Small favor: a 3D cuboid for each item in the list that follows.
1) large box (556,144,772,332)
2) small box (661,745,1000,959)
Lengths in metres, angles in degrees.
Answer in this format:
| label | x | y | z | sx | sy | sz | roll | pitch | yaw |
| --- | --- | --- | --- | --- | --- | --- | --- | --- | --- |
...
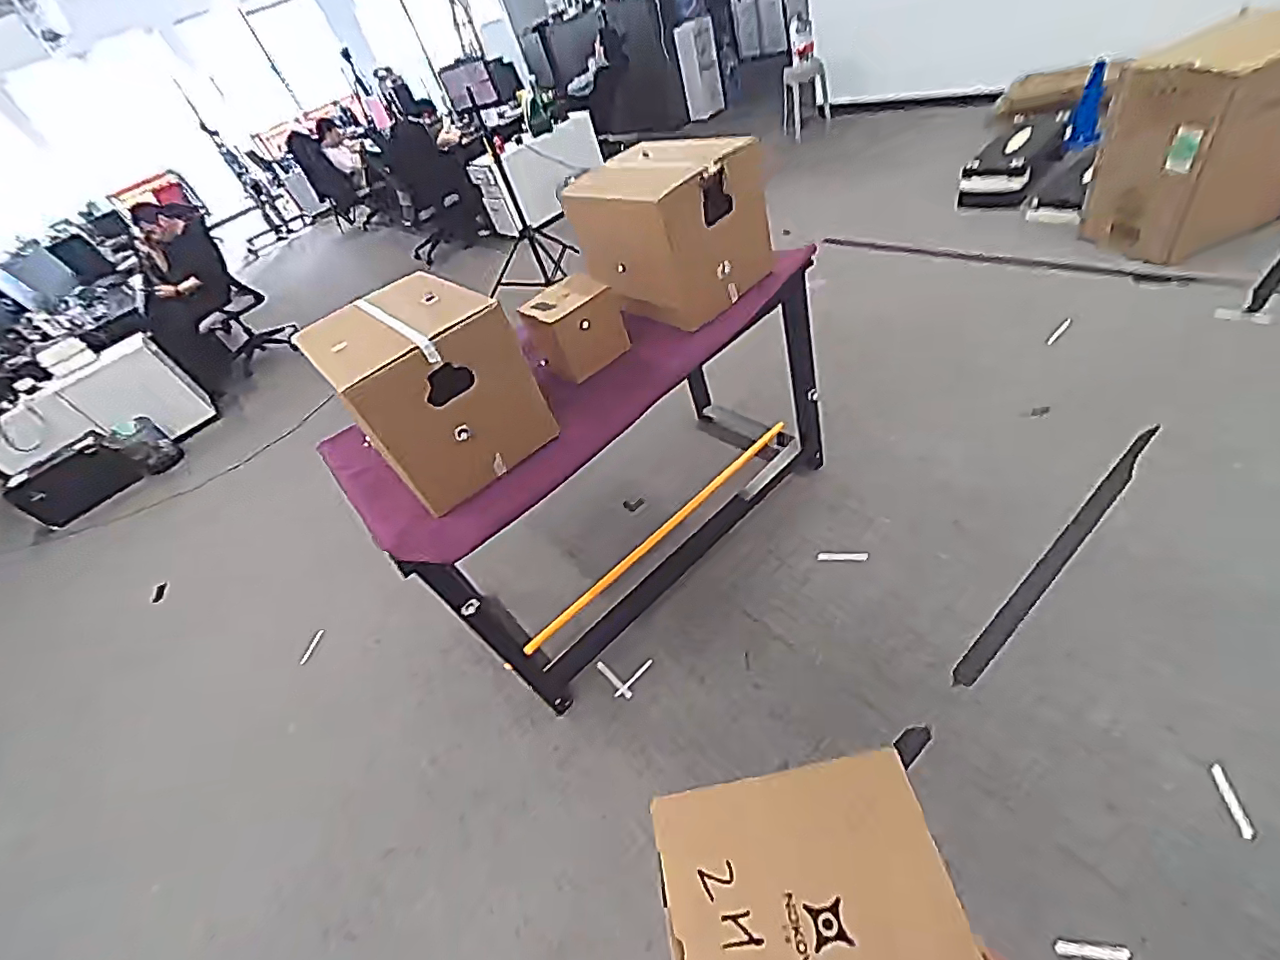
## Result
| label | x | y | z | sx | sy | sz | roll | pitch | yaw |
| --- | --- | --- | --- | --- | --- | --- | --- | --- | --- |
| large box | 0.065 | -0.612 | 1.369 | 0.320 | 0.320 | 0.408 | -40 | 43 | -19 |
| small box | 0.121 | 0.303 | 0.383 | 0.179 | 0.176 | 0.168 | -12 | 52 | 3 |
